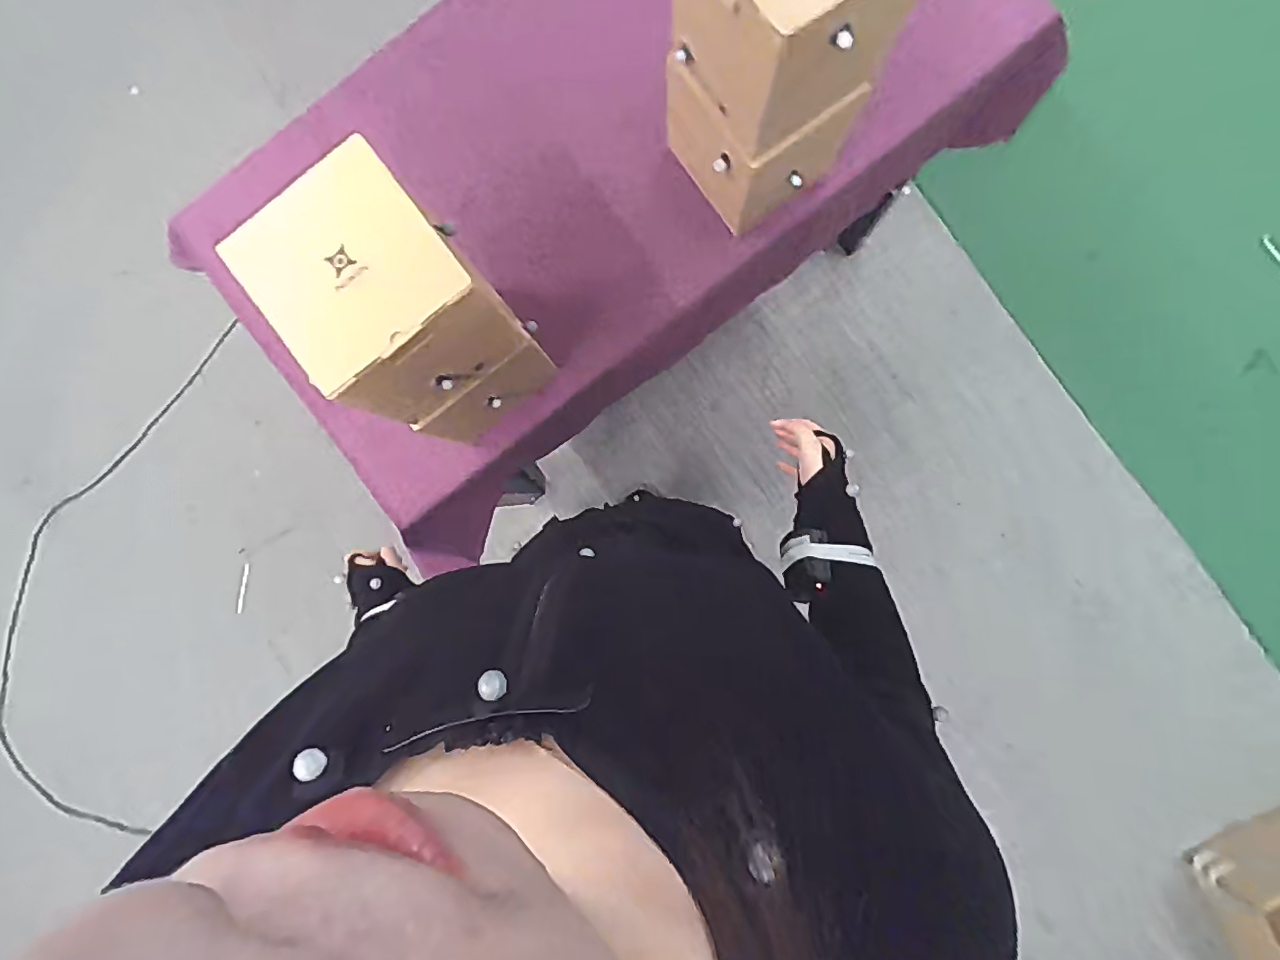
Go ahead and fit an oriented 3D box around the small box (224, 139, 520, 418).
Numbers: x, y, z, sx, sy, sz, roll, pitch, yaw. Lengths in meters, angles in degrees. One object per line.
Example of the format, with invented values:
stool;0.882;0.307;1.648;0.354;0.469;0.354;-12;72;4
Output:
small box;-0.252;-0.184;0.554;0.168;0.176;0.179;-38;88;1

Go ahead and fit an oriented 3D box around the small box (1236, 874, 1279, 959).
small box;1.608;1.085;1.285;0.168;0.176;0.179;-30;86;1

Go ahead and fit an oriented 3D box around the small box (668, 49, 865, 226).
small box;0.151;-0.467;0.708;0.168;0.176;0.179;-35;87;1

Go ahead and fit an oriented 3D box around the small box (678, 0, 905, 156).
small box;0.149;-0.478;0.544;0.179;0.176;0.168;-34;88;0
